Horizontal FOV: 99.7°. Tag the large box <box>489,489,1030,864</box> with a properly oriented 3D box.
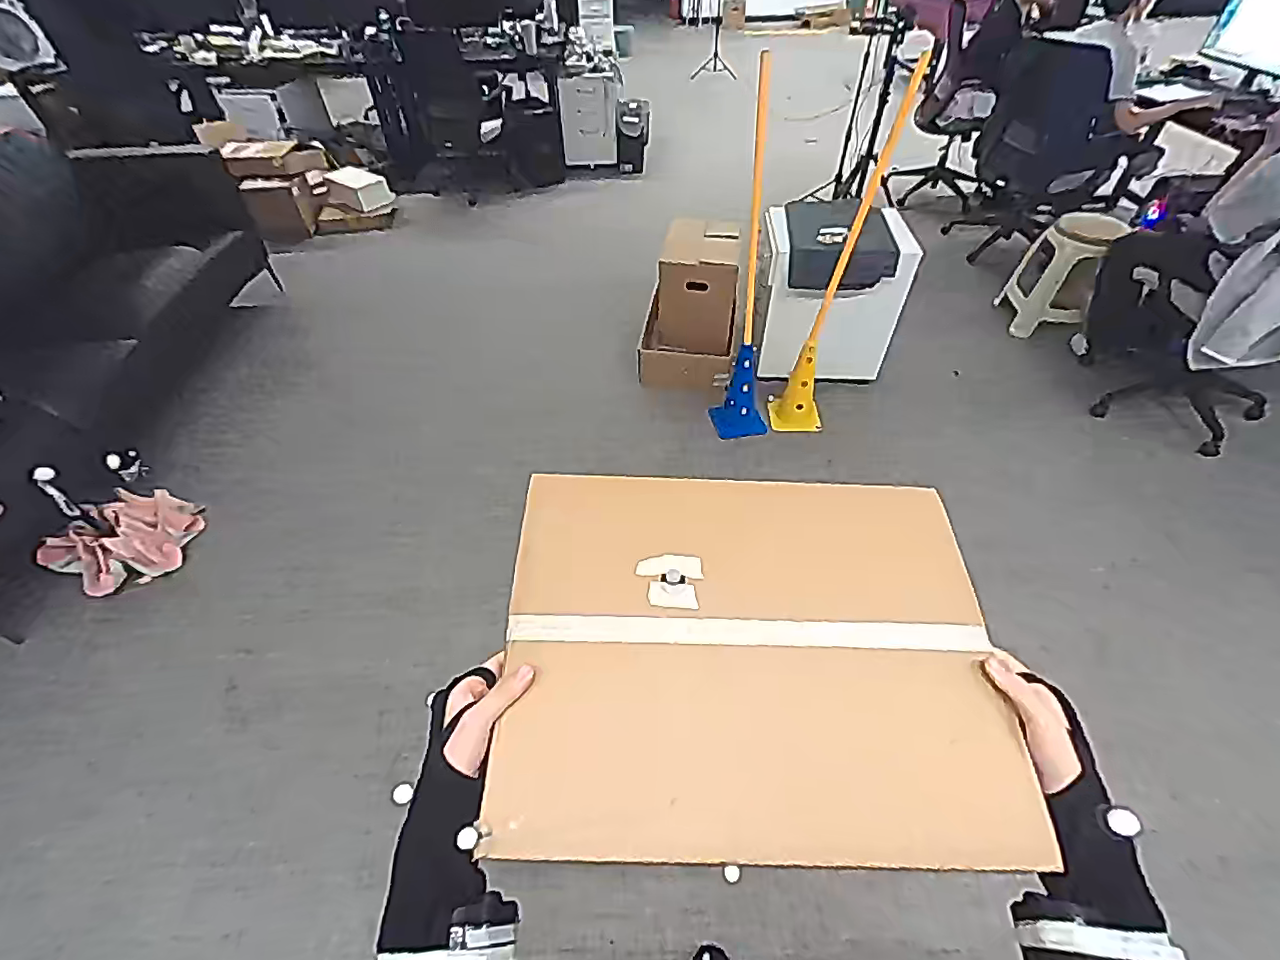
[{"bbox_3d":[0.089,0.219,0.595,0.408,0.320,0.320,1,57,0],"label":"large box"}]
